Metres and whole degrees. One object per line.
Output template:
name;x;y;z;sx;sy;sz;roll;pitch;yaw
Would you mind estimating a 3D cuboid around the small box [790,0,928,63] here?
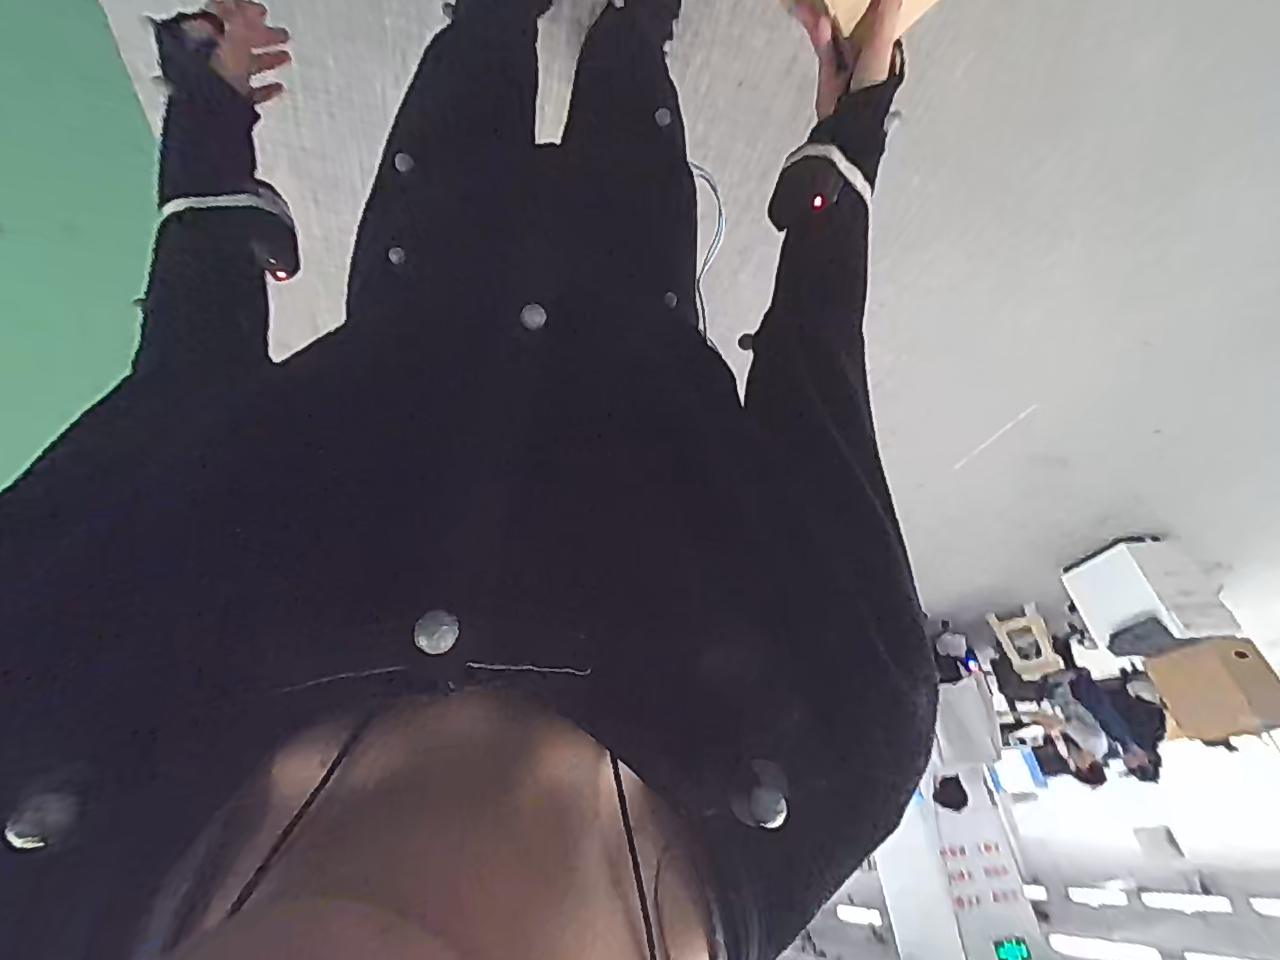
small box;0.188;-0.508;0.438;0.179;0.176;0.168;-34;145;26
